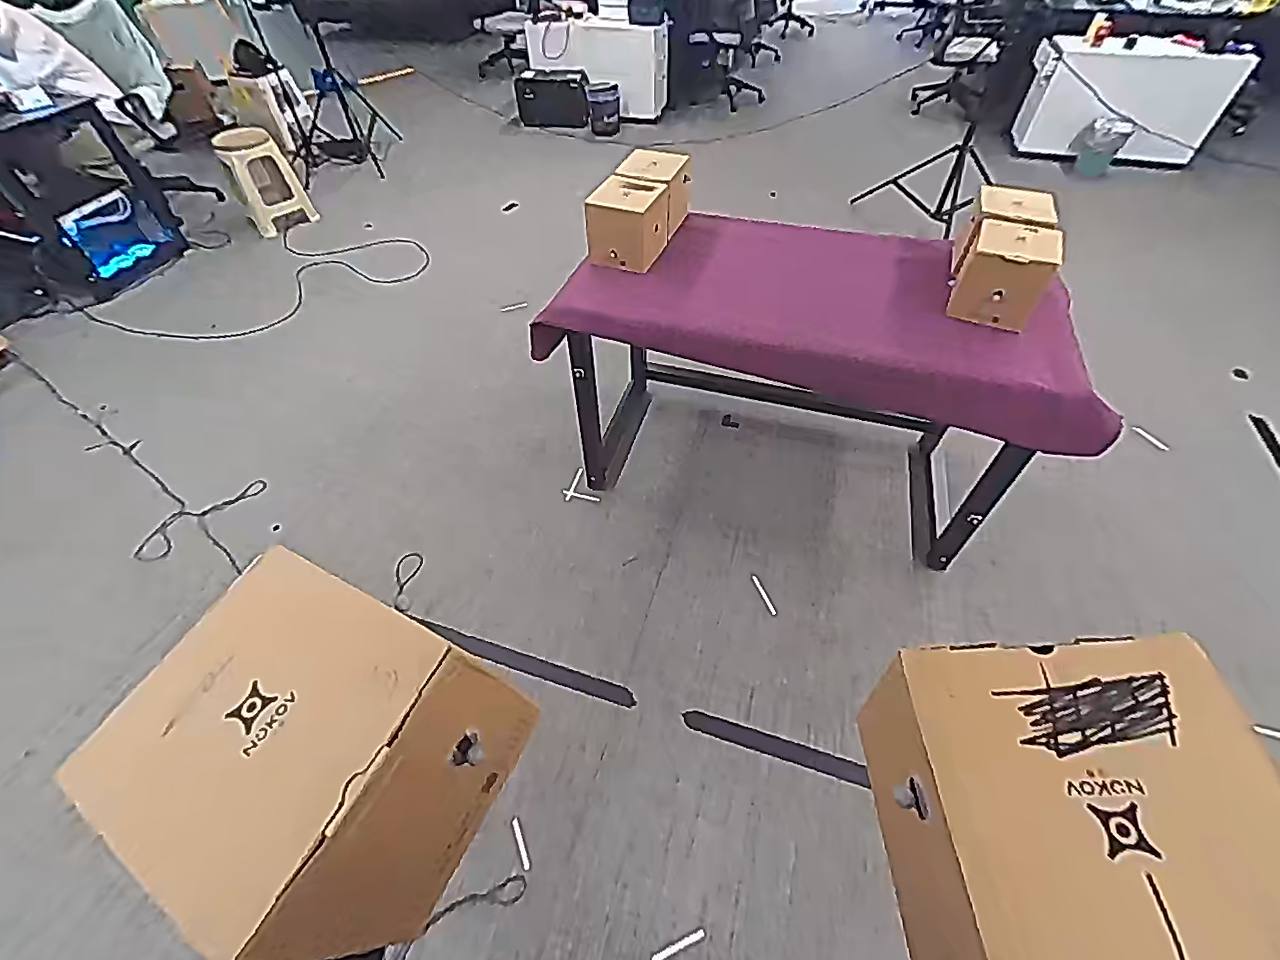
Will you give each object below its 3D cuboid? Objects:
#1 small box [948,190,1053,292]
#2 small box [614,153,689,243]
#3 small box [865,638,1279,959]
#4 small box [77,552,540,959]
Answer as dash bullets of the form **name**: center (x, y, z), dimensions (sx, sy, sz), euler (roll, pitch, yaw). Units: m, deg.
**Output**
- **small box**: center (0.908, -0.609, 1.378), dimensions (0.168, 0.176, 0.179), euler (17, 51, 14)
- **small box**: center (0.033, -0.817, 1.566), dimensions (0.168, 0.176, 0.179), euler (16, 53, 14)
- **small box**: center (0.256, 0.217, 0.340), dimensions (0.168, 0.176, 0.179), euler (-6, 53, 7)
- **small box**: center (-0.197, 0.182, 0.375), dimensions (0.179, 0.176, 0.168), euler (18, 59, 24)
